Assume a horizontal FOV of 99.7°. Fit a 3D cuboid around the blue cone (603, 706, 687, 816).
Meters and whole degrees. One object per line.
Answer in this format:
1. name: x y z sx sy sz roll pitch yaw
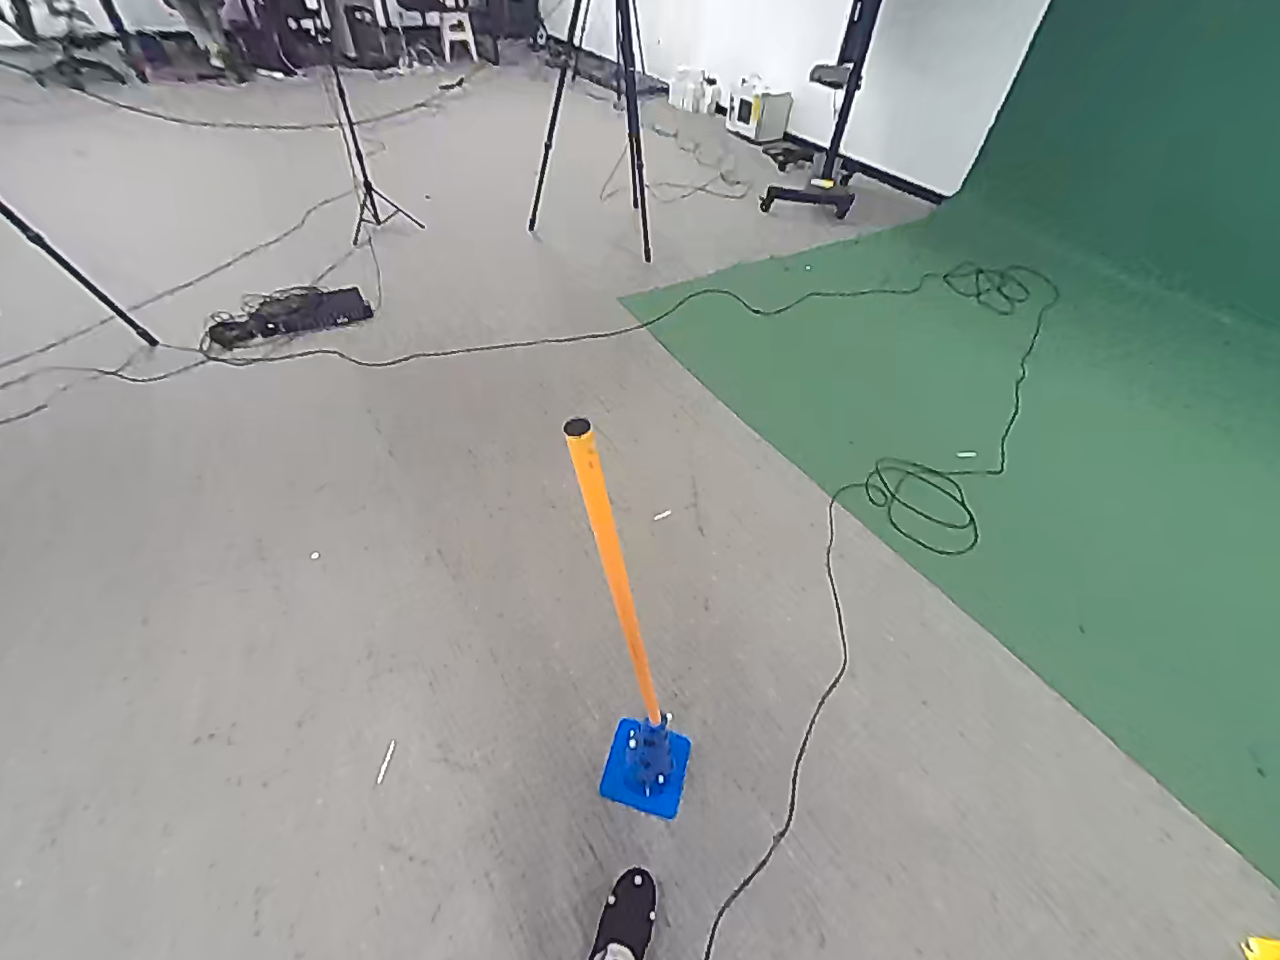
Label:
1. blue cone: 0.020 0.610 1.230 0.193 0.380 0.192 13 48 9
